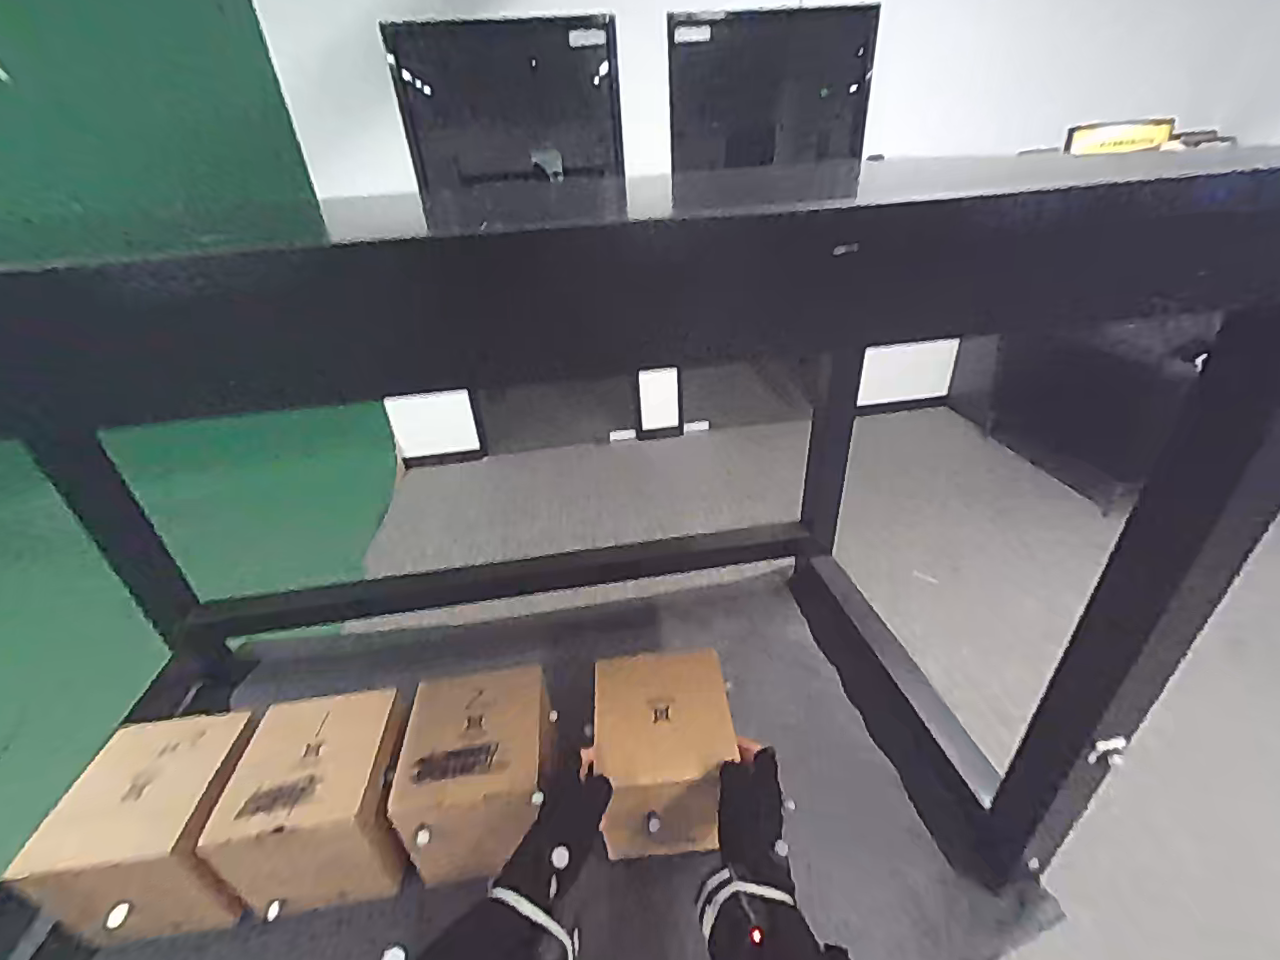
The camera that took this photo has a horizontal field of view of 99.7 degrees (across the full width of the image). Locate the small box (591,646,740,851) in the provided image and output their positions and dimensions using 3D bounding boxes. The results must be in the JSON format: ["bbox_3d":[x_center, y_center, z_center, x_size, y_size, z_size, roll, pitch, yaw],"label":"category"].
[{"bbox_3d":[0.032,0.344,0.692,0.168,0.176,0.179,-6,31,-1],"label":"small box"}]

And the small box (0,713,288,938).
[{"bbox_3d":[-0.571,0.420,0.659,0.168,0.176,0.179,-5,30,-4],"label":"small box"}]
